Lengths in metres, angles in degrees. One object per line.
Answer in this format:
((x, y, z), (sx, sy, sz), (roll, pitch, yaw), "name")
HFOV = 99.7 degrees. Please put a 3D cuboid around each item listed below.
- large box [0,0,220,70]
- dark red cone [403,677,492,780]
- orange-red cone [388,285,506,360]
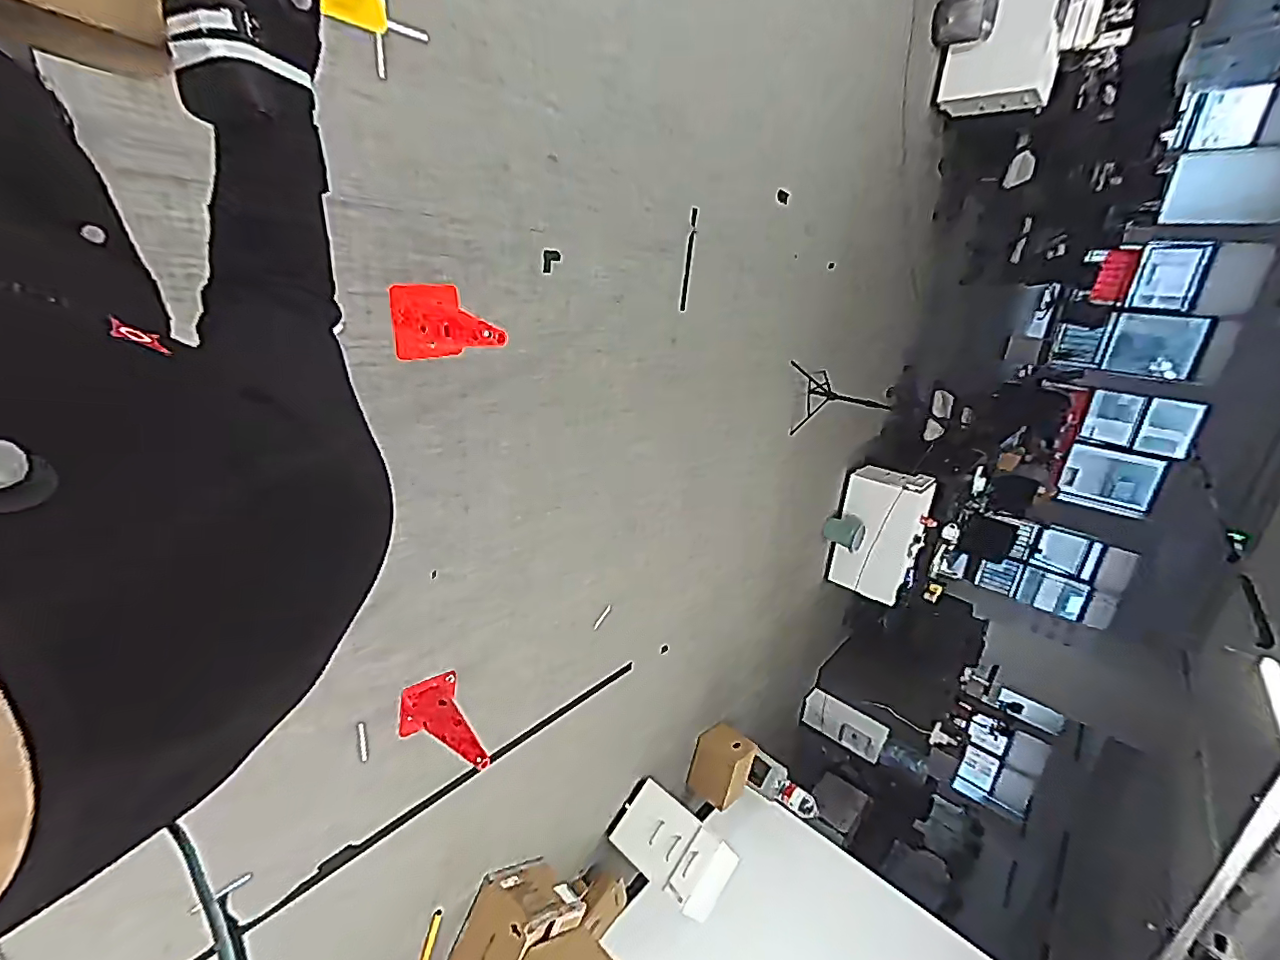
((-0.506, -0.469, 0.268), (0.408, 0.320, 0.320), (-11, 122, -48), "large box")
((-0.608, 0.843, 1.780), (0.201, 0.394, 0.202), (-9, 113, -47), "dark red cone")
((-0.469, -0.393, 1.400), (0.198, 0.360, 0.199), (-21, 121, -45), "orange-red cone")
